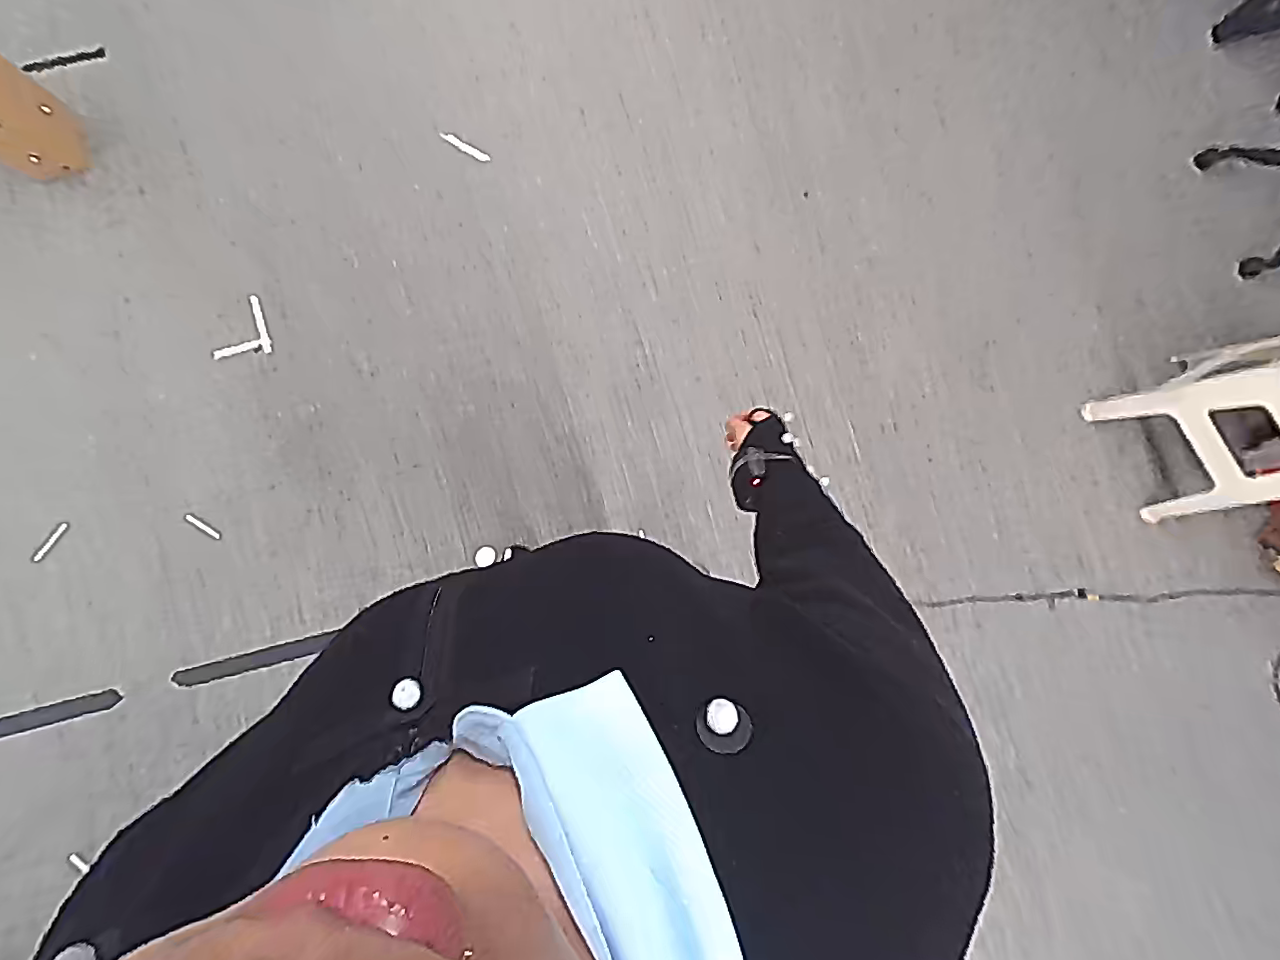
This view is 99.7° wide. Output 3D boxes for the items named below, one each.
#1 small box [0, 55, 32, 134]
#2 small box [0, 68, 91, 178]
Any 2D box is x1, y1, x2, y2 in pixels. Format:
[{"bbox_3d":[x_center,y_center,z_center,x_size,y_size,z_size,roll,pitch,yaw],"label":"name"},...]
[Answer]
[{"bbox_3d":[-1.669,-0.982,1.320,0.168,0.176,0.179,-18,86,-4],"label":"small box"},{"bbox_3d":[-1.675,-0.964,1.482,0.168,0.176,0.179,-19,85,-5],"label":"small box"}]
